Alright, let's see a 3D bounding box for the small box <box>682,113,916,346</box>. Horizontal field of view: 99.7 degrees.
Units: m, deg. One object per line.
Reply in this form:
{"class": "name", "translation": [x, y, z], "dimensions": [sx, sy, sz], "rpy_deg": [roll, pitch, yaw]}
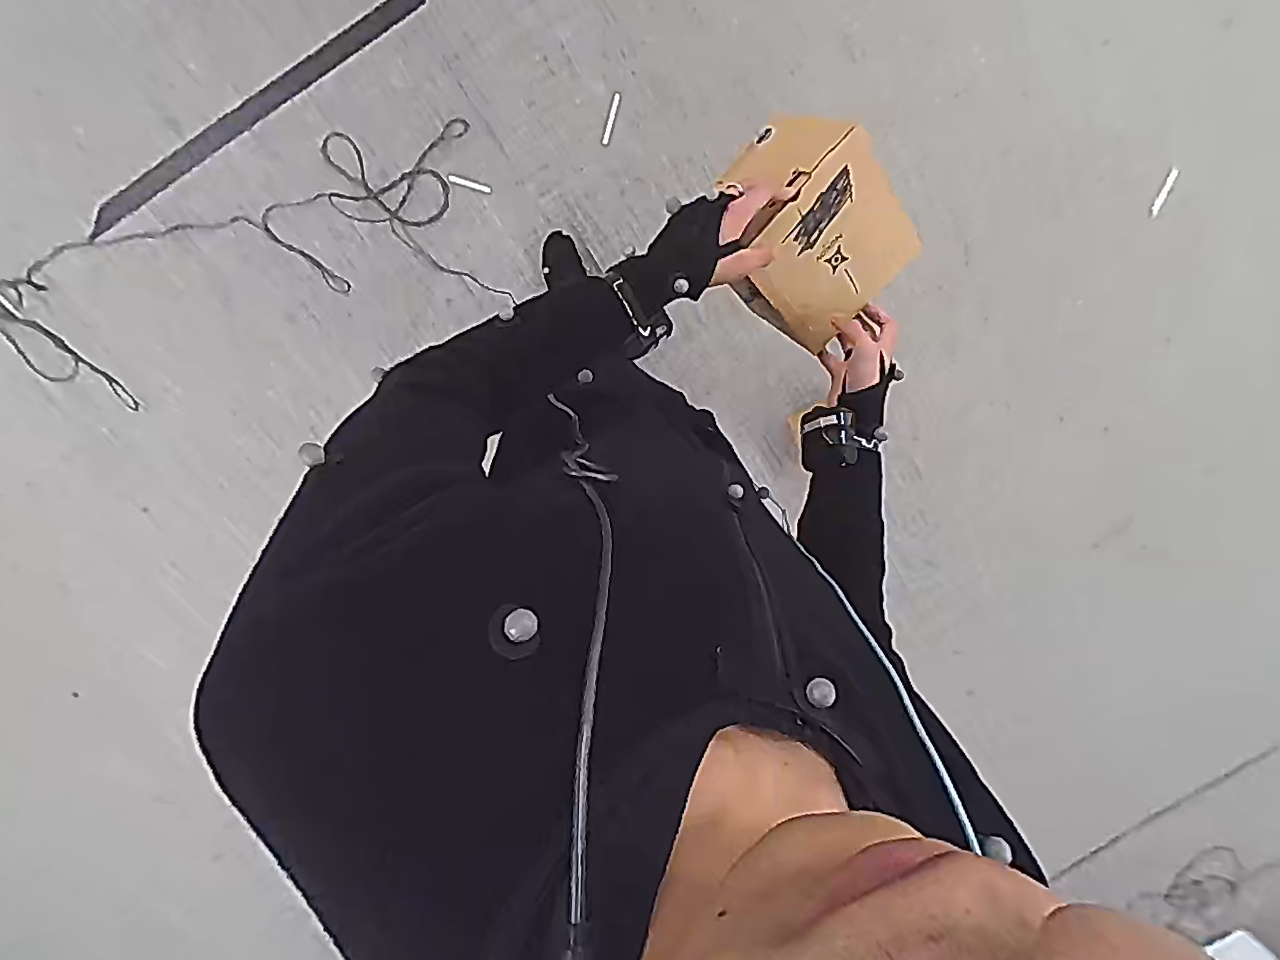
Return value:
{"class": "small box", "translation": [0.179, -0.298, 0.644], "dimensions": [0.168, 0.176, 0.179], "rpy_deg": [-46, 129, 15]}

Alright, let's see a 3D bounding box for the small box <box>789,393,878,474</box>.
{"class": "small box", "translation": [0.560, -0.142, 1.594], "dimensions": [0.179, 0.176, 0.168], "rpy_deg": [-26, 107, 1]}
